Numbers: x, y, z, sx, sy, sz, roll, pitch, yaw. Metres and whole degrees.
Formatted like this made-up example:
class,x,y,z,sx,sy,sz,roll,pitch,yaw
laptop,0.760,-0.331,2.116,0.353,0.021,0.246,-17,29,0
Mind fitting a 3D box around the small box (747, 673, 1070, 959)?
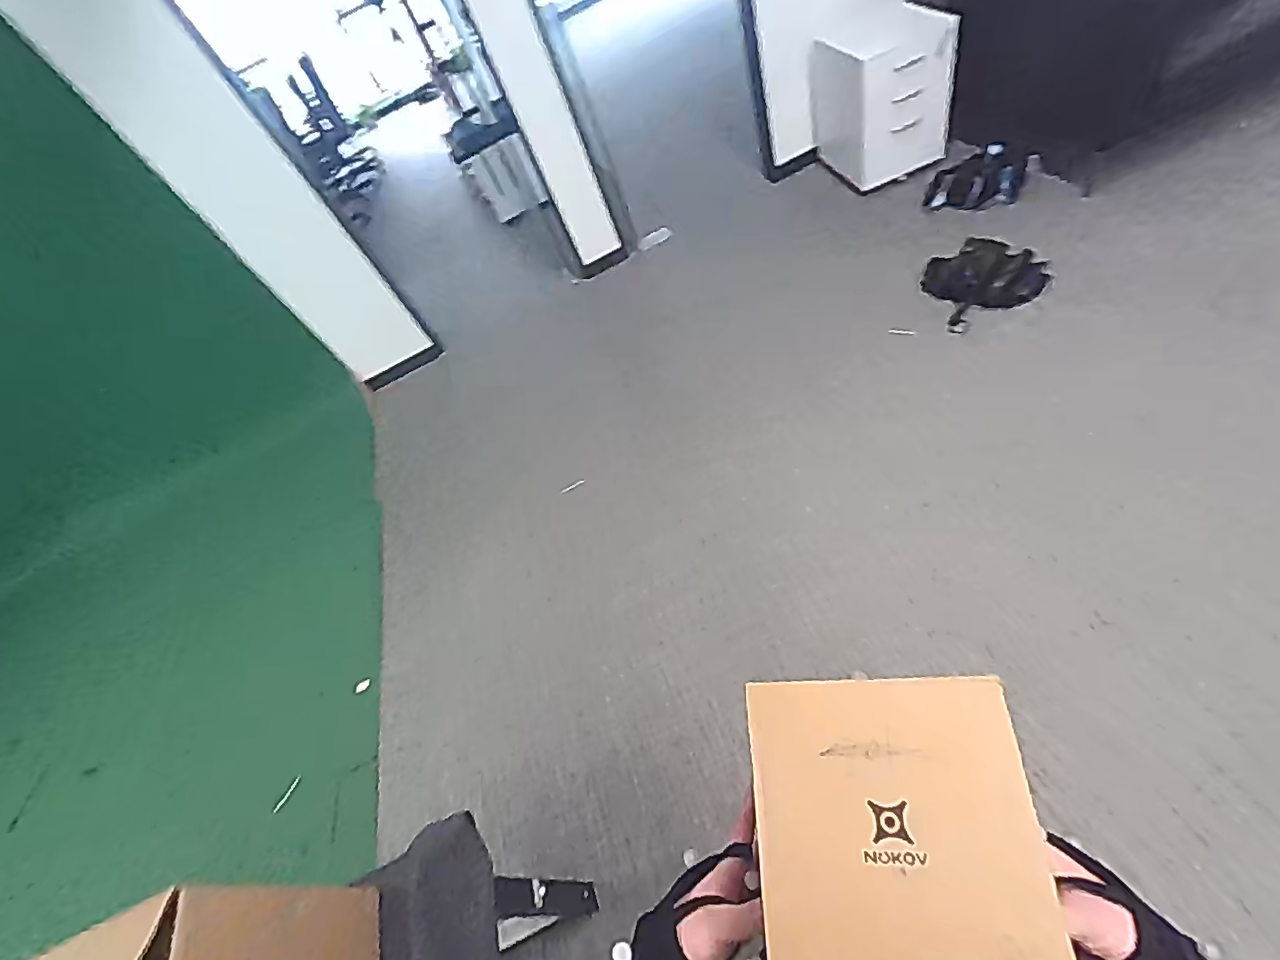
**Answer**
class,x,y,z,sx,sy,sz,roll,pitch,yaw
small box,0.176,0.248,0.411,0.168,0.176,0.179,-6,63,11
